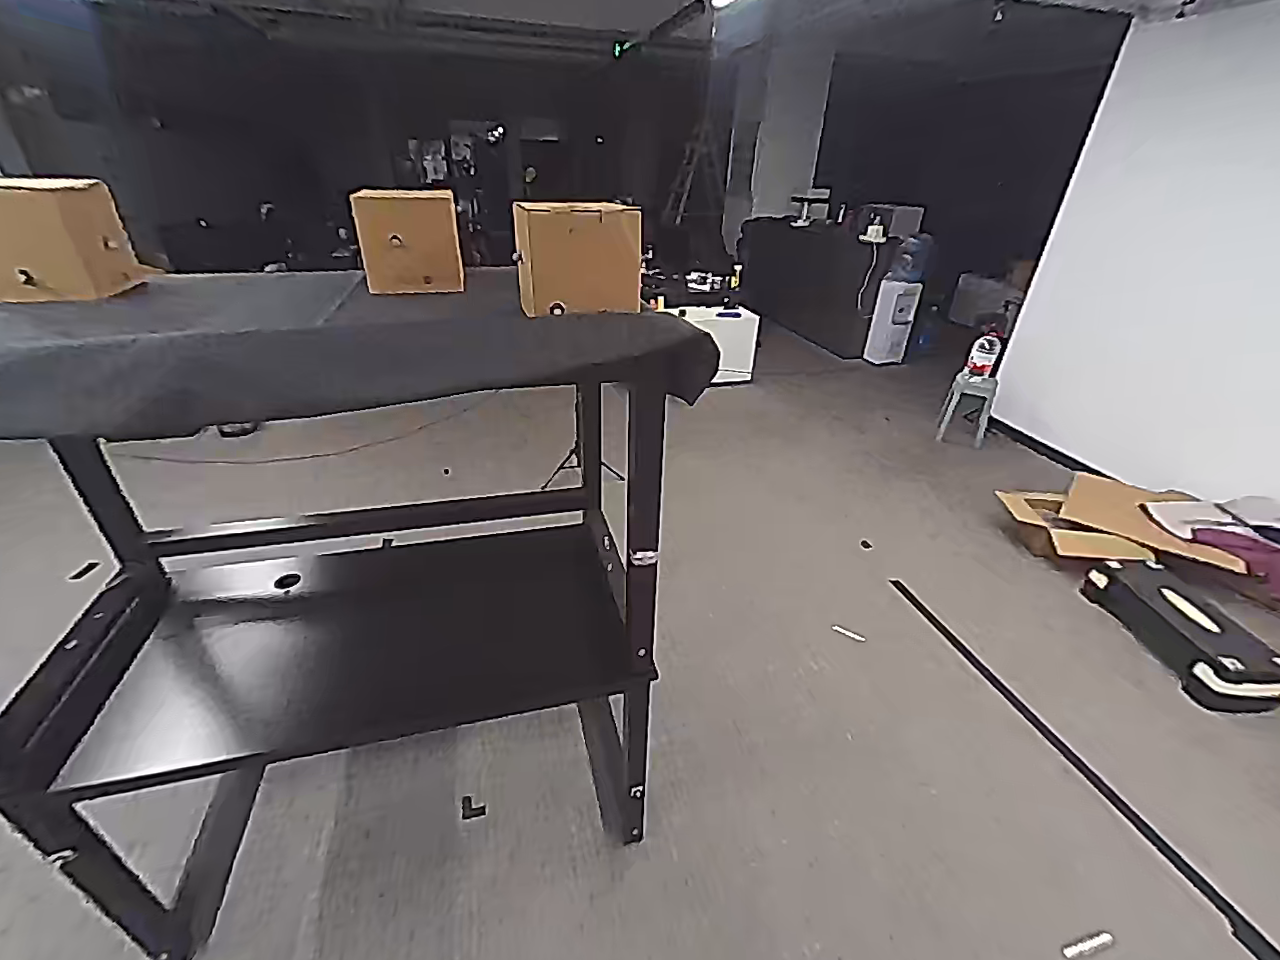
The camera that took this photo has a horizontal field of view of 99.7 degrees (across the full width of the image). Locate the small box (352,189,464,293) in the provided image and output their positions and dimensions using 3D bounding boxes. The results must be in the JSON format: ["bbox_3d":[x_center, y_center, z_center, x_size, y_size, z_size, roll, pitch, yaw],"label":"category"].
[{"bbox_3d":[-0.436,-0.462,1.046,0.168,0.176,0.179,-7,32,-15],"label":"small box"}]

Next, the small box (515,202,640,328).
[{"bbox_3d":[-0.100,-0.343,0.861,0.168,0.176,0.179,-8,31,-16],"label":"small box"}]

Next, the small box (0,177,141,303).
[{"bbox_3d":[-0.990,-0.397,0.895,0.179,0.176,0.168,-6,32,-16],"label":"small box"}]
